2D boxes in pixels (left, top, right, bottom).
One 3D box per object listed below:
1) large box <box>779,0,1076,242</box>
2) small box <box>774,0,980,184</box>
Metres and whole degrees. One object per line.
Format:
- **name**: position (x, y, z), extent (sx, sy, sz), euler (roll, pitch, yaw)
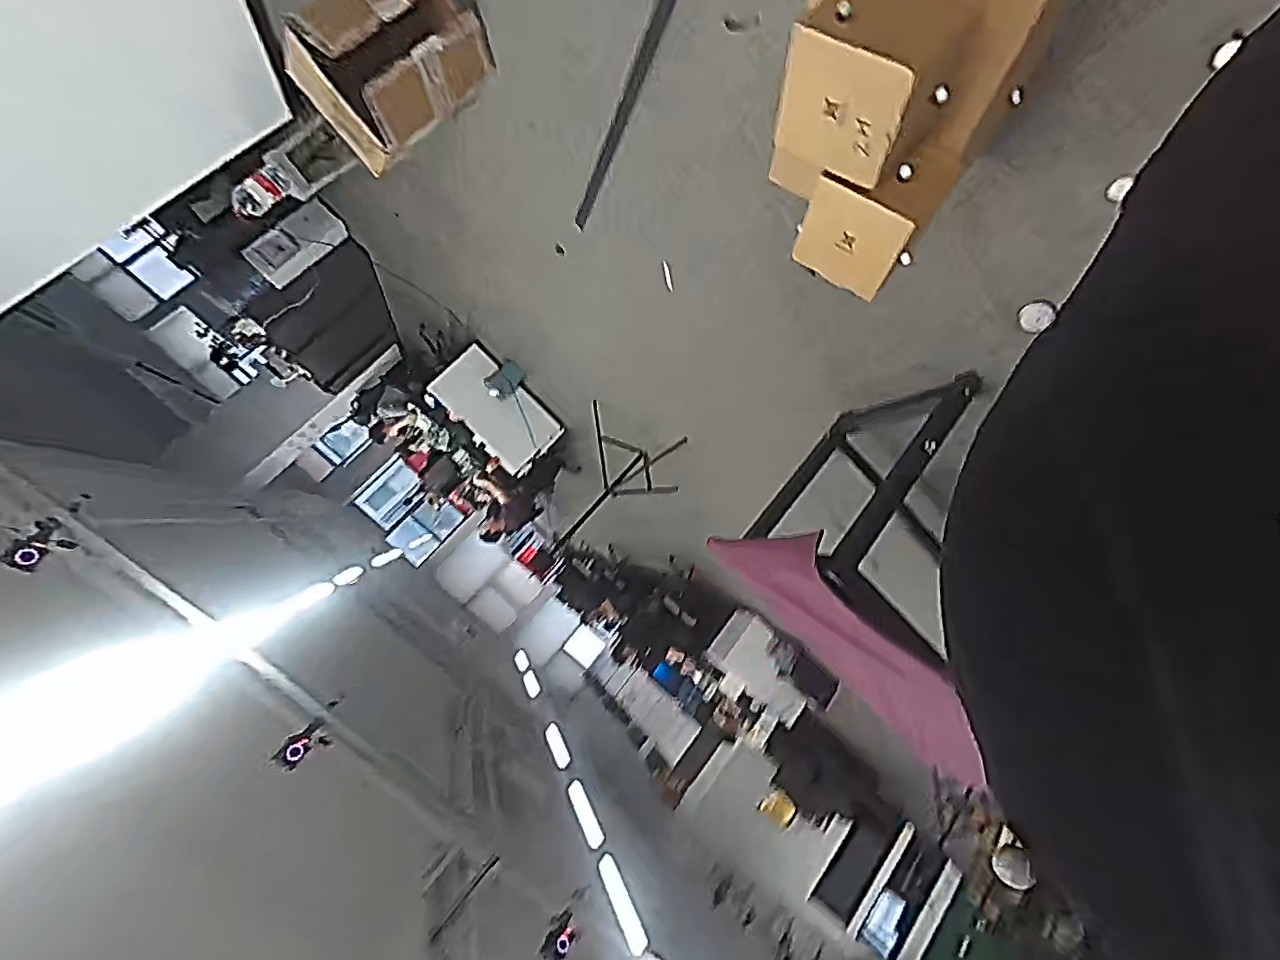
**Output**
- **large box**: position (0.476, -0.709, 0.899), extent (0.320, 0.320, 0.408), euler (38, 165, 16)
- **small box**: position (0.317, -0.563, 0.749), extent (0.179, 0.176, 0.168), euler (36, 165, 16)
